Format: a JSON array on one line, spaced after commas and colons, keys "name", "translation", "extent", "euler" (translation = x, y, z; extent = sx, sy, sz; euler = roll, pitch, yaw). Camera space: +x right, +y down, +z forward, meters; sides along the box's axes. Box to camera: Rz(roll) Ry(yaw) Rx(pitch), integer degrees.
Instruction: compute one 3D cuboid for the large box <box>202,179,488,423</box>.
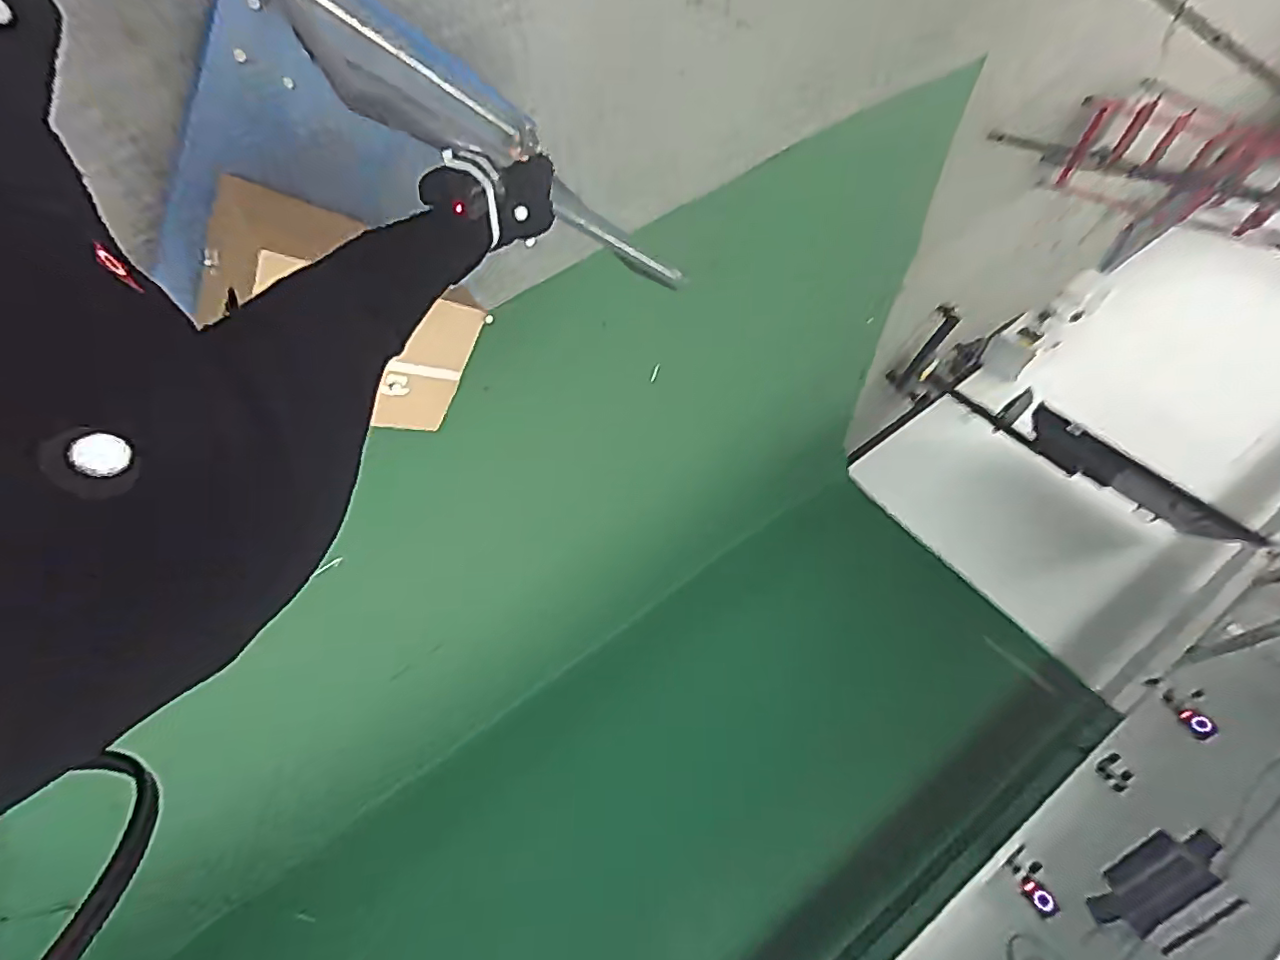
[{"name": "large box", "translation": [-0.603, -0.338, 1.105], "extent": [0.408, 0.320, 0.320], "euler": [-2, 133, -50]}]
